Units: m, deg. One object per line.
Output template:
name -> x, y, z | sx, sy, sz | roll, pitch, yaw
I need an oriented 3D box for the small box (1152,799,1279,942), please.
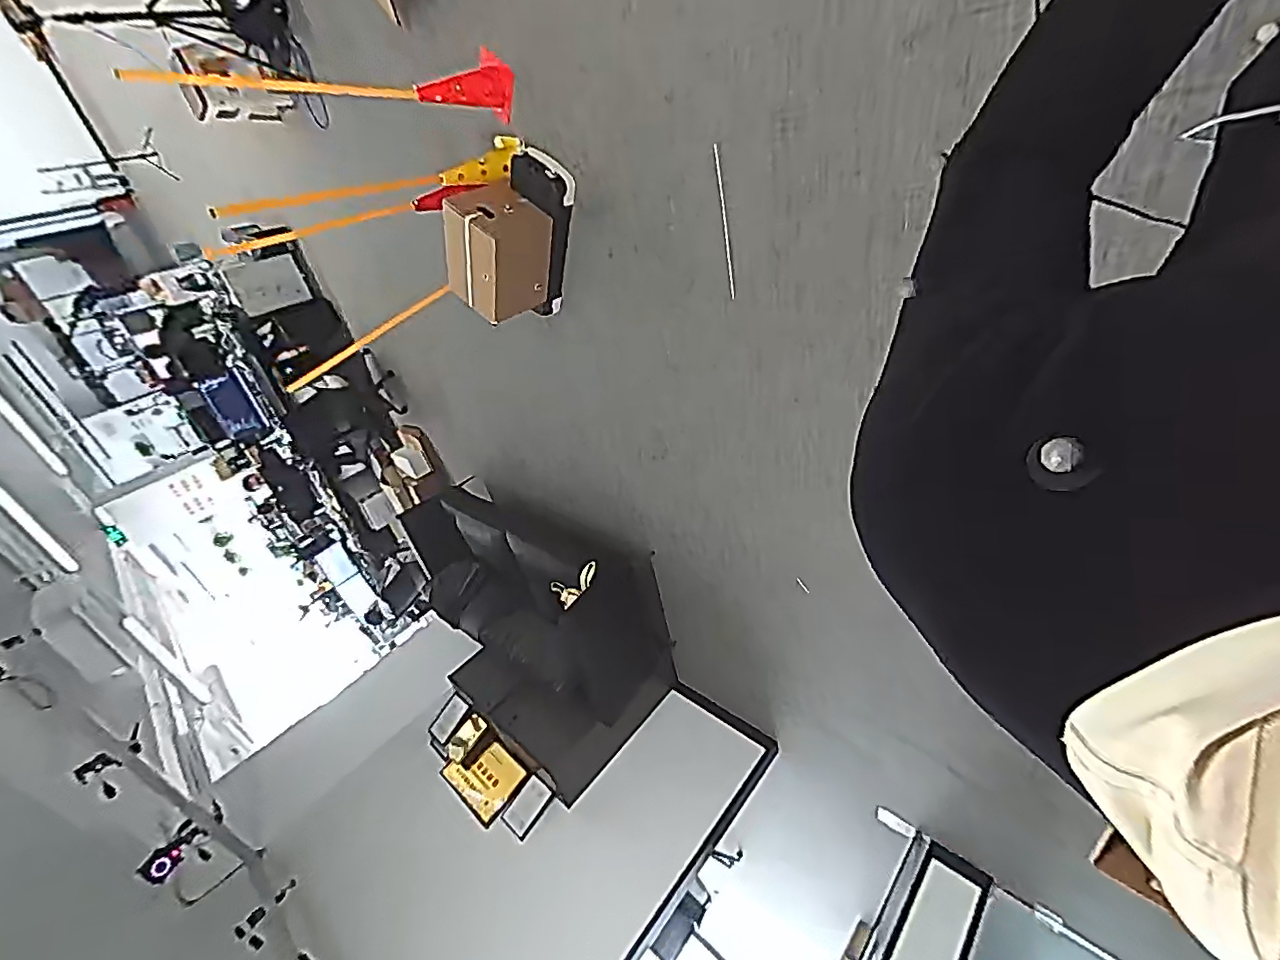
small box -> 1.321, 0.885, 1.235 | 0.168, 0.176, 0.179 | 22, 135, 40
